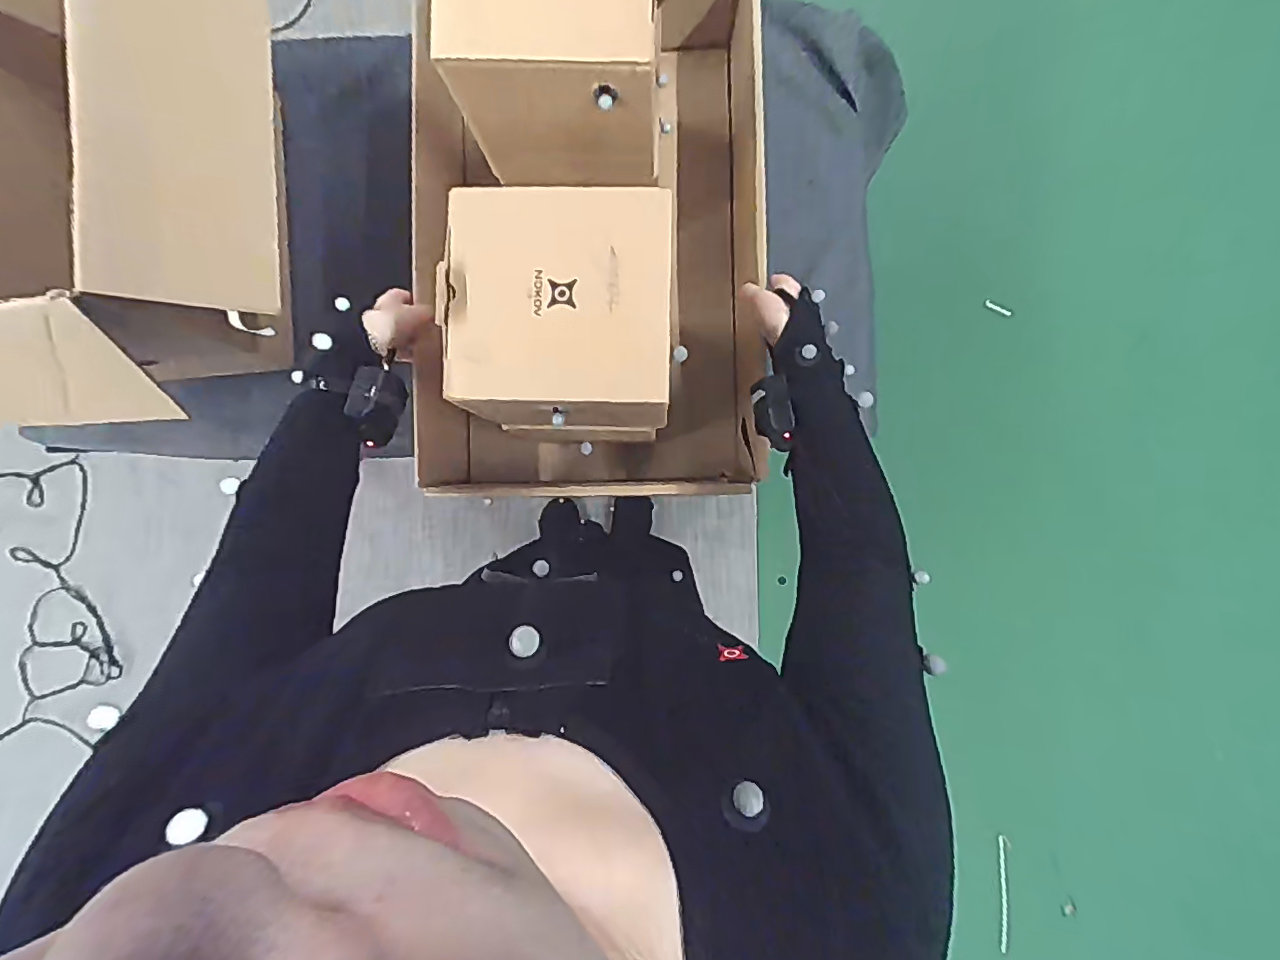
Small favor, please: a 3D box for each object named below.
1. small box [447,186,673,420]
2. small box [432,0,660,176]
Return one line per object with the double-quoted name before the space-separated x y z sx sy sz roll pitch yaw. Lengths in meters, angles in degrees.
"small box" -0.060 -0.145 0.499 0.179 0.176 0.168 1 91 2
"small box" -0.071 -0.406 0.498 0.179 0.176 0.168 2 91 0
